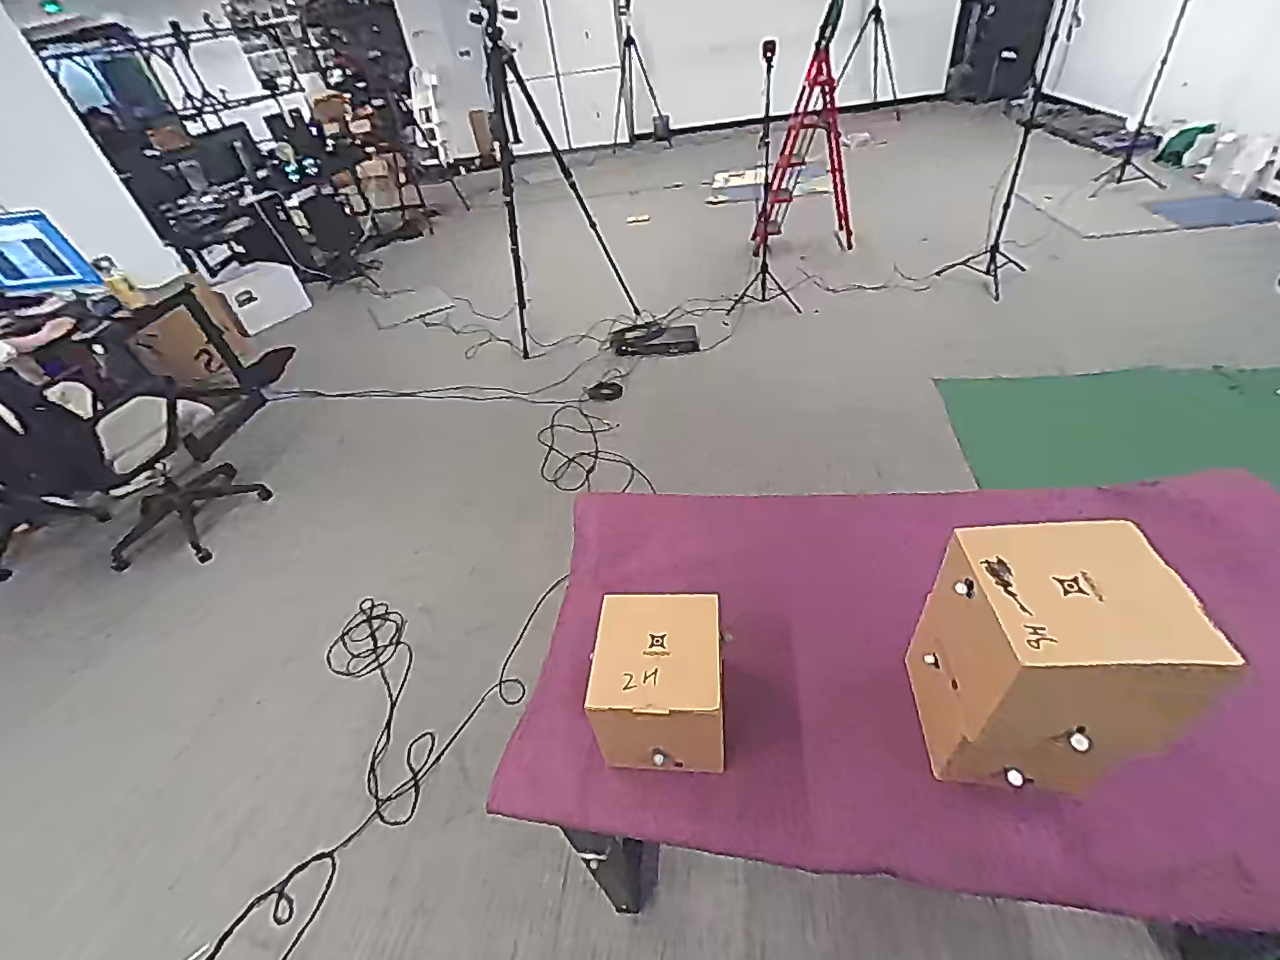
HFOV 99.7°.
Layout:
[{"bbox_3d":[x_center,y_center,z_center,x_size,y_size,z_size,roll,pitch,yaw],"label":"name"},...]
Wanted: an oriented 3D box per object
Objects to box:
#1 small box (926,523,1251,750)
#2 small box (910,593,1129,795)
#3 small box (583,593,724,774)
[{"bbox_3d":[0.427,0.161,0.559,0.179,0.176,0.168,-3,41,8],"label":"small box"},{"bbox_3d":[0.459,0.266,0.683,0.168,0.176,0.179,-1,41,11],"label":"small box"},{"bbox_3d":[0.029,0.278,0.751,0.168,0.176,0.179,-2,40,9],"label":"small box"}]
